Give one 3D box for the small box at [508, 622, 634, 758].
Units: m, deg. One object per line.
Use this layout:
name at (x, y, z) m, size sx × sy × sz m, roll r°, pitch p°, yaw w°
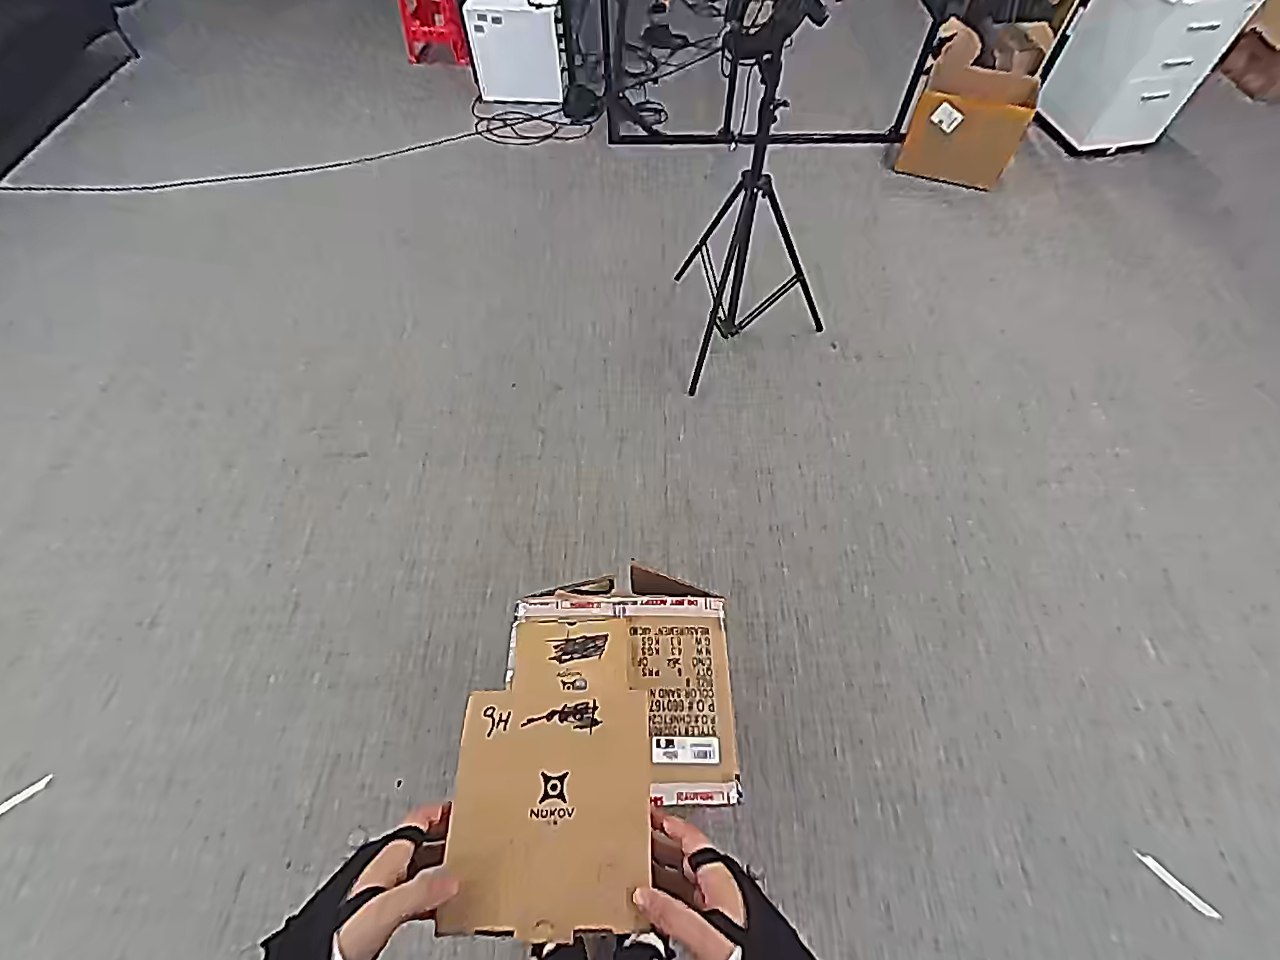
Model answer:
small box at (-0.096, 0.326, 0.830) m, size 0.168 × 0.176 × 0.179 m, roll -2°, pitch 62°, yaw 1°
